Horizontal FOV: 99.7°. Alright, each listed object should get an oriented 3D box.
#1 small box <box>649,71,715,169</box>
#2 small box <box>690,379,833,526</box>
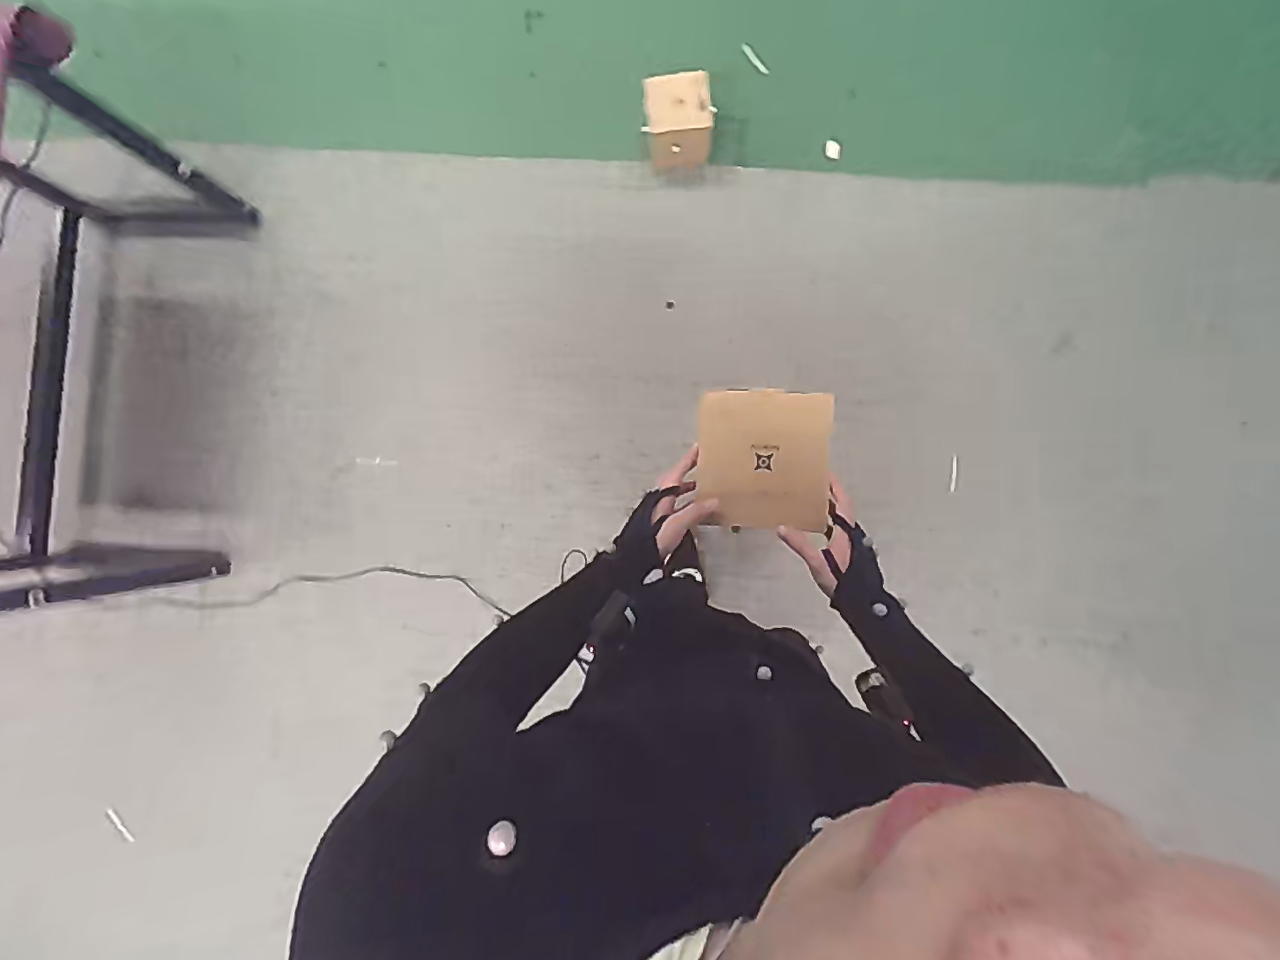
[{"bbox_3d":[0.124,-1.046,1.586,0.179,0.176,0.168,-5,87,4],"label":"small box"},{"bbox_3d":[0.157,-0.033,0.744,0.168,0.176,0.179,3,90,6],"label":"small box"}]
